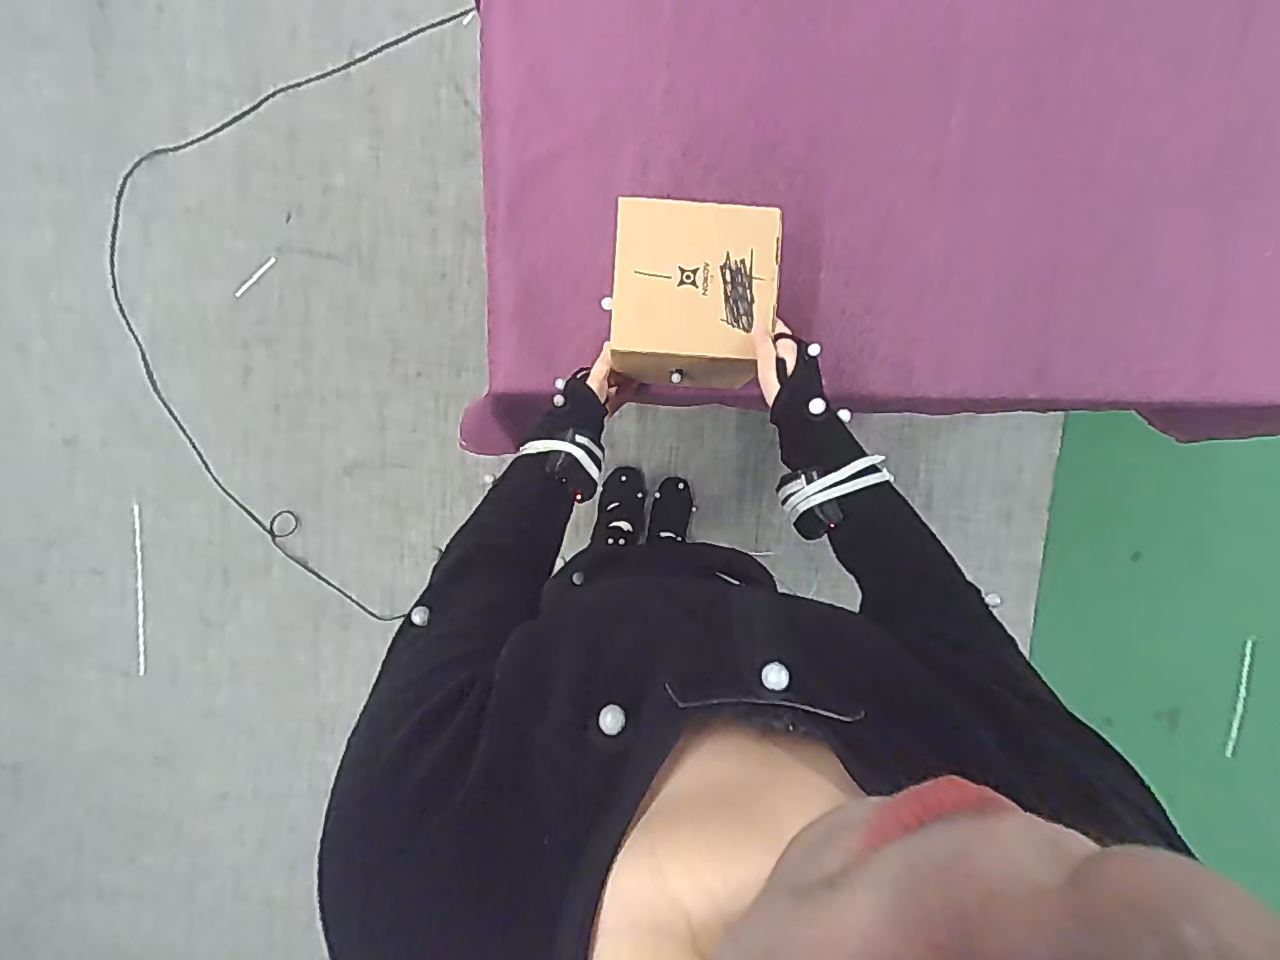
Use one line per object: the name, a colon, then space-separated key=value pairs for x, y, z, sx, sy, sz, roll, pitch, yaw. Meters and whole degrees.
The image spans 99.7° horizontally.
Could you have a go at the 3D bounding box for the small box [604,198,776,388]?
small box: x=0.051 y=-0.210 z=0.653 sx=0.179 sy=0.176 sz=0.168 roll=4 pitch=89 yaw=-2
